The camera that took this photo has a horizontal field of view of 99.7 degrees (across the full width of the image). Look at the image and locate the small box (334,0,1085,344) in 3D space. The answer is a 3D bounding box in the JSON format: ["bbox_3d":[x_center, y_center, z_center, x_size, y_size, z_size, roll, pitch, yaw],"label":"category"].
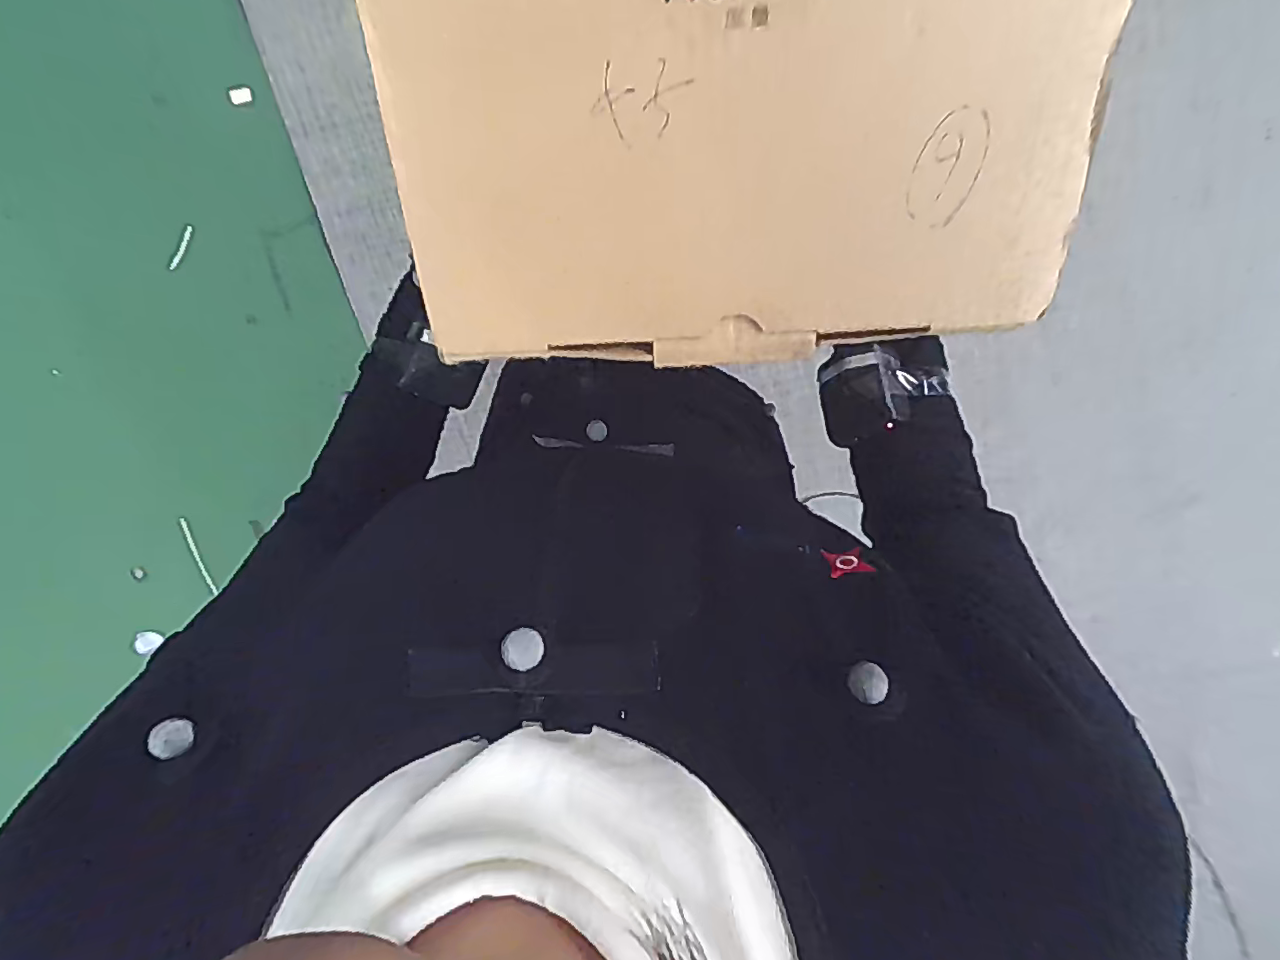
[{"bbox_3d":[0.015,-0.156,0.182,0.168,0.176,0.179,-4,116,2],"label":"small box"}]
